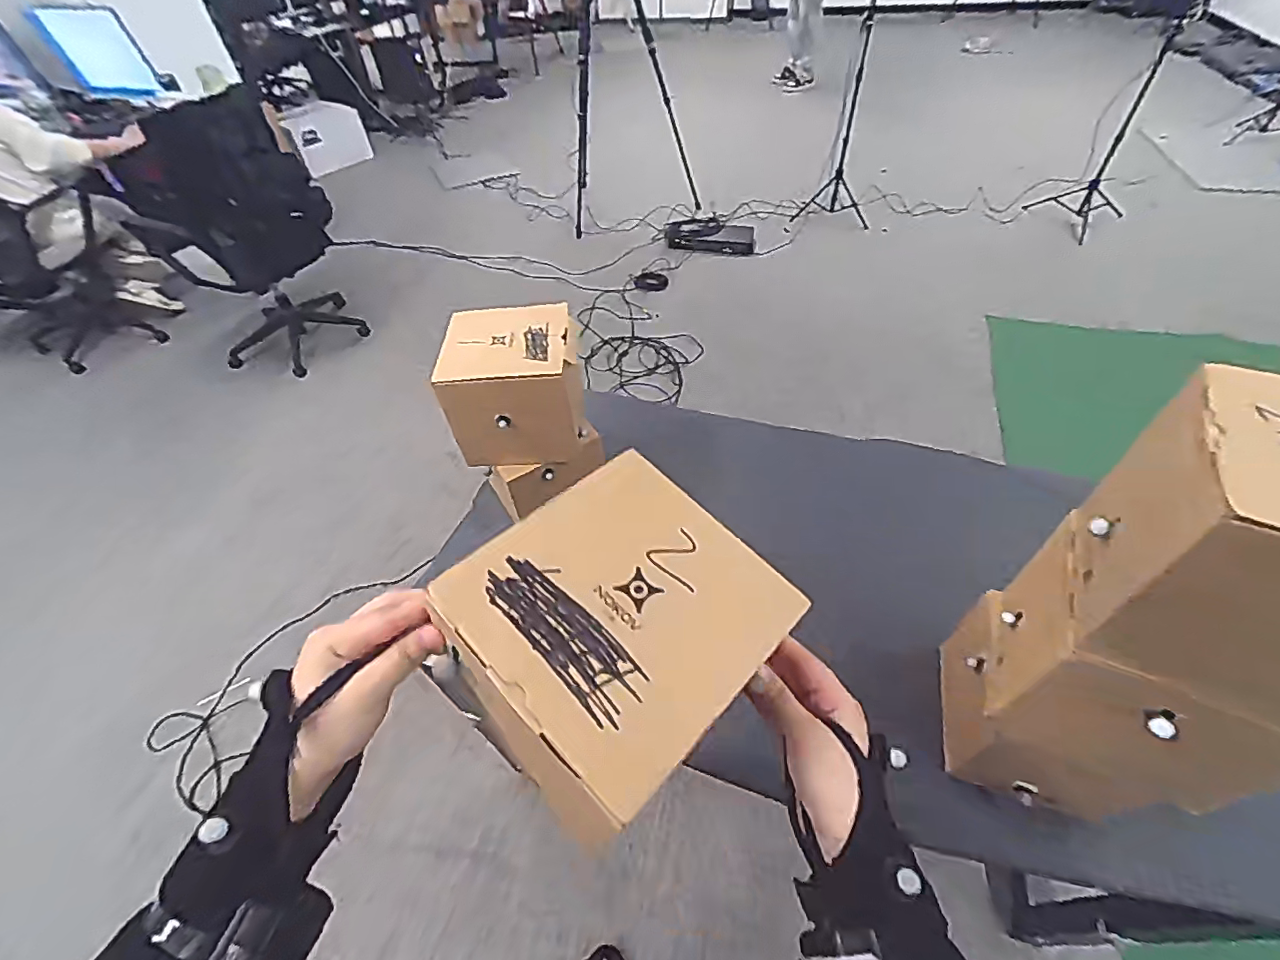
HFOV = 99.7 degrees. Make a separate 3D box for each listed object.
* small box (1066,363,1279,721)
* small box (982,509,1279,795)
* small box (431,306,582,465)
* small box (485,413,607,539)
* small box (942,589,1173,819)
[{"bbox_3d":[0.447,0.049,0.379,0.179,0.176,0.168,21,52,23],"label":"small box"},{"bbox_3d":[0.454,0.161,0.500,0.179,0.176,0.168,19,52,22],"label":"small box"},{"bbox_3d":[-0.184,-0.137,0.810,0.179,0.176,0.168,-4,50,2],"label":"small box"},{"bbox_3d":[-0.172,-0.032,0.937,0.168,0.176,0.179,-28,53,-19],"label":"small box"},{"bbox_3d":[0.468,0.259,0.630,0.168,0.176,0.179,11,50,15],"label":"small box"}]
